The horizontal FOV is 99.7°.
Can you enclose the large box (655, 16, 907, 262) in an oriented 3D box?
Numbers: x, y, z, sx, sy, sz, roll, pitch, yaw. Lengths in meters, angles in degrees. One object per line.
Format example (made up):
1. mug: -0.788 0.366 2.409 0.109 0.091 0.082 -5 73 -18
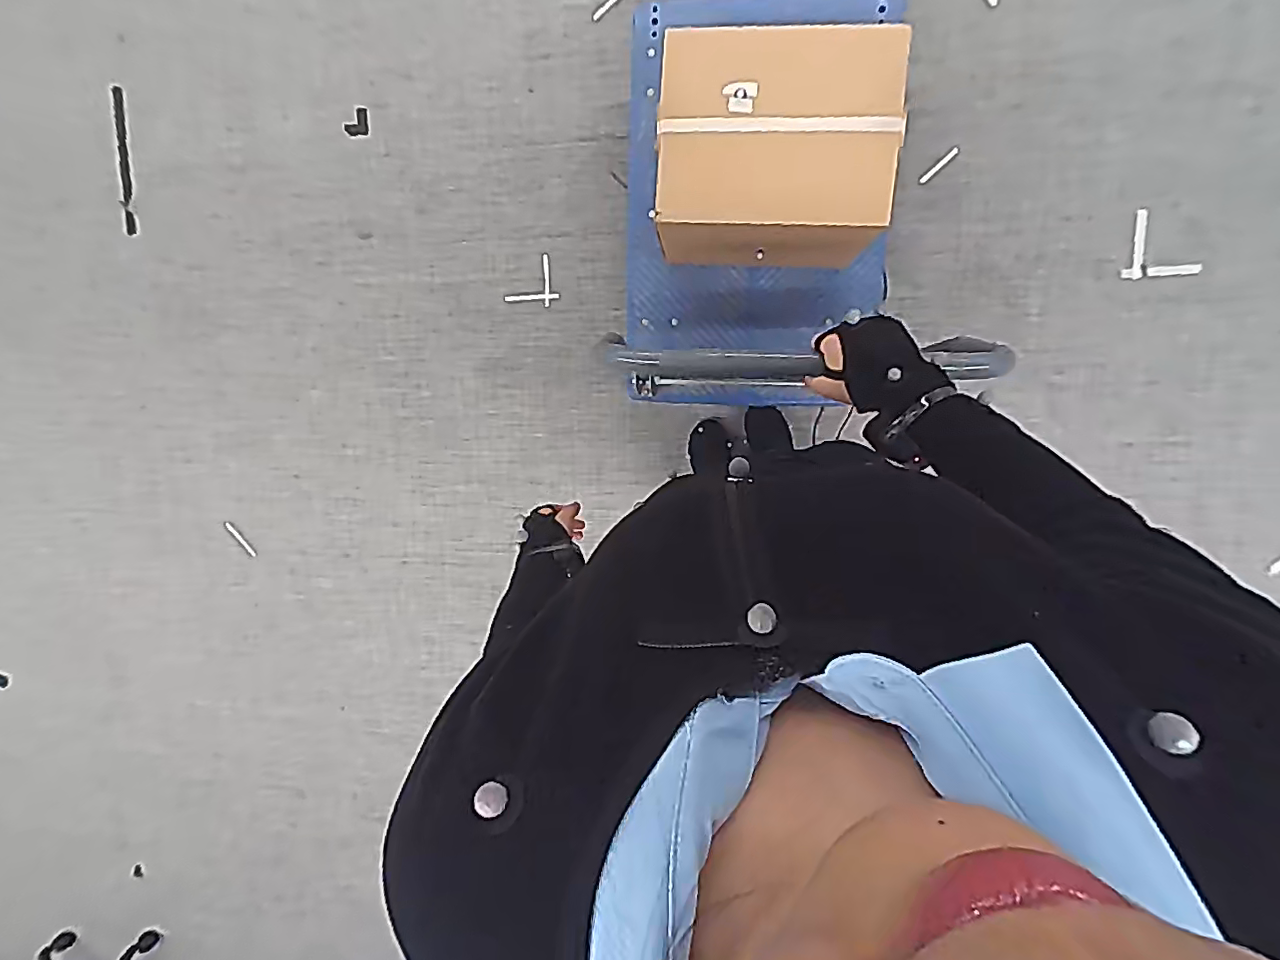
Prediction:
1. large box: 0.250 -0.620 1.053 0.408 0.320 0.320 4 98 8
